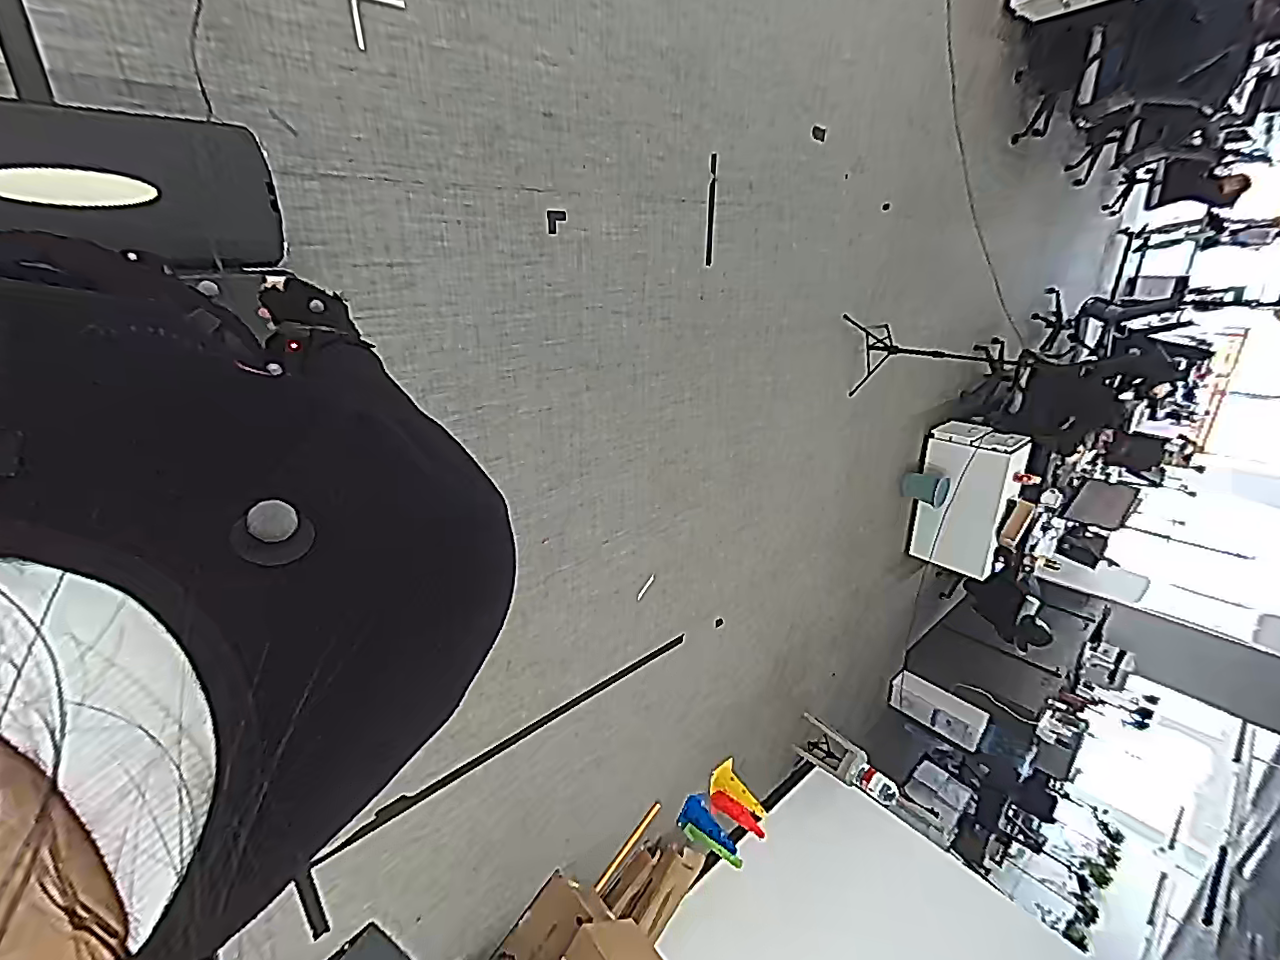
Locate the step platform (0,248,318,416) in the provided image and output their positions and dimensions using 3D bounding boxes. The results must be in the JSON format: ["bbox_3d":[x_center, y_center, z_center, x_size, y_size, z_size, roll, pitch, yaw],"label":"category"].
[{"bbox_3d":[-1.057,-0.315,1.103,0.684,0.204,0.286,-19,117,-35],"label":"step platform"}]
